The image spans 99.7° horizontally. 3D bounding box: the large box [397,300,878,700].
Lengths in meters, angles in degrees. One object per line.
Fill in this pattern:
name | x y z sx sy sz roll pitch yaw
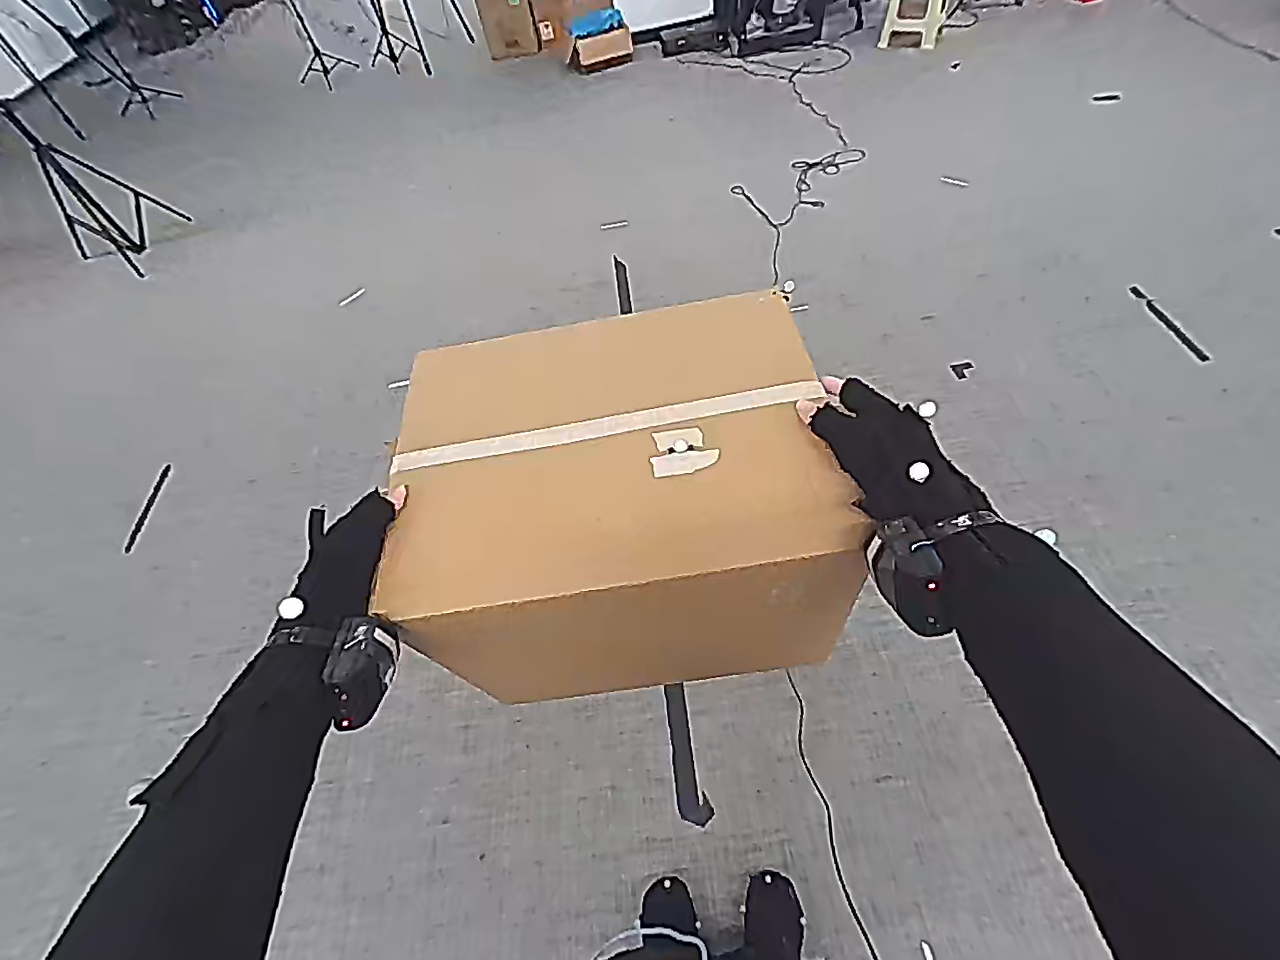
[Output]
large box | -0.004 0.041 0.638 0.408 0.320 0.320 -9 56 3
